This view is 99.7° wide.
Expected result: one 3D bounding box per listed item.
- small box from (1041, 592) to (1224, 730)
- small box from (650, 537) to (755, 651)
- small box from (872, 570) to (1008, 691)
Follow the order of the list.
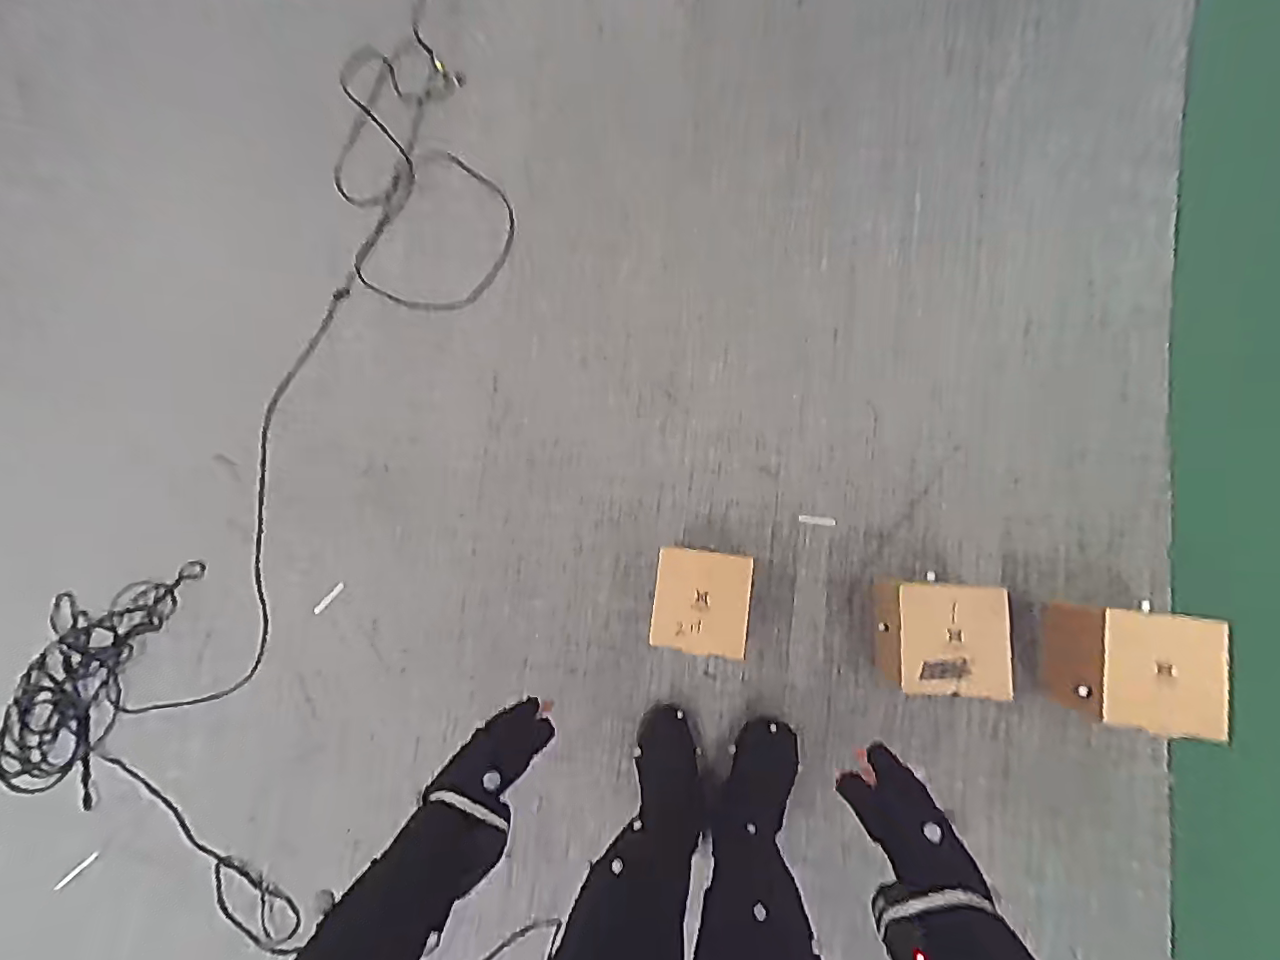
[{"bbox_3d":[0.801,0.286,0.897,0.168,0.176,0.179,5,84,11],"label":"small box"},{"bbox_3d":[0.121,0.205,1.017,0.168,0.176,0.179,6,85,11],"label":"small box"},{"bbox_3d":[0.514,0.253,0.948,0.168,0.176,0.179,1,83,9],"label":"small box"}]
